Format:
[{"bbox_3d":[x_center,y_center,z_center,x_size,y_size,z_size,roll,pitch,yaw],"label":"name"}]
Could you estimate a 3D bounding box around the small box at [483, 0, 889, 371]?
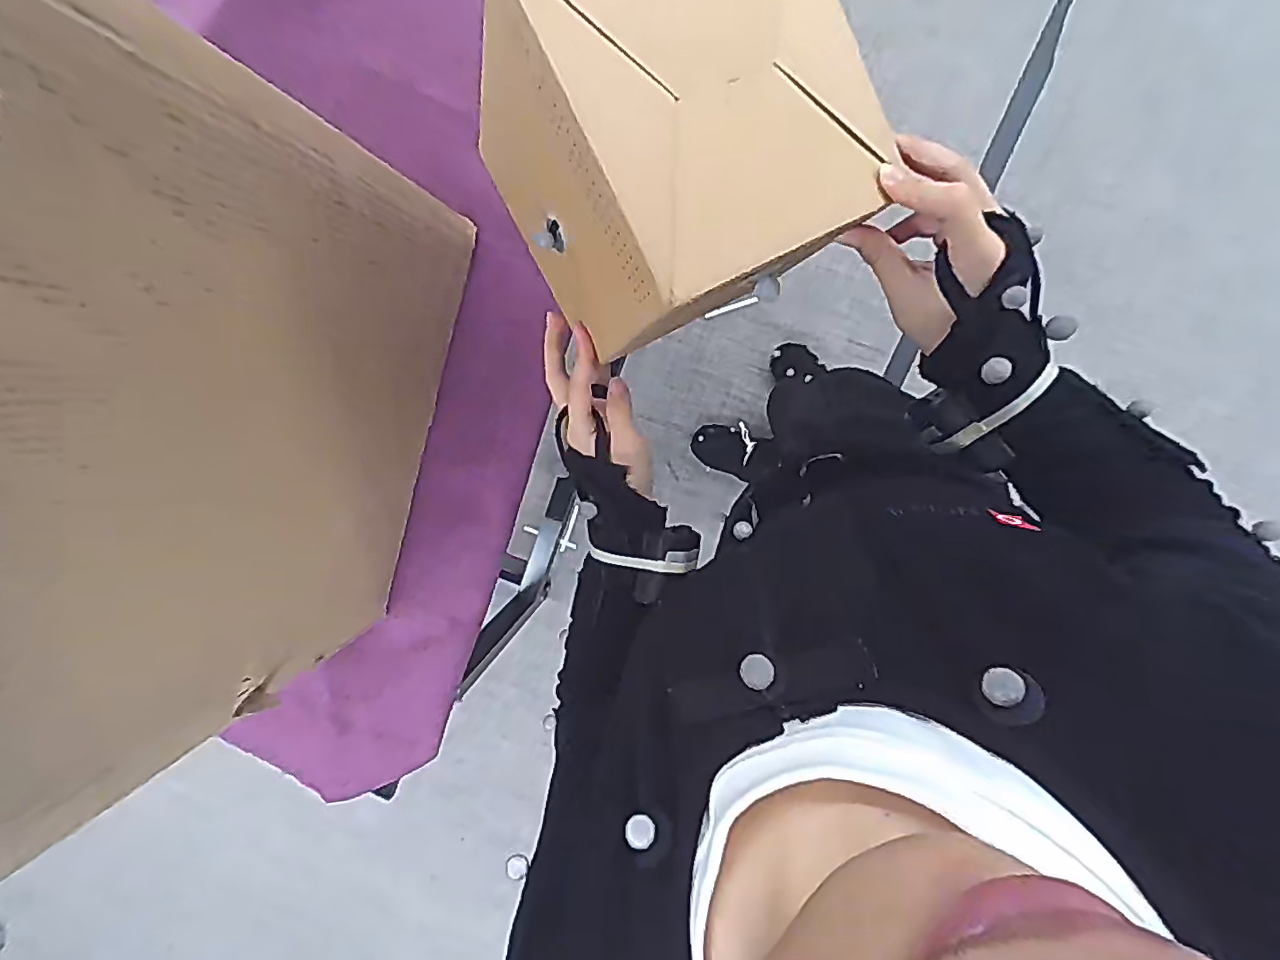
[{"bbox_3d":[0.020,-0.196,0.344,0.168,0.176,0.179,-30,99,-15],"label":"small box"}]
